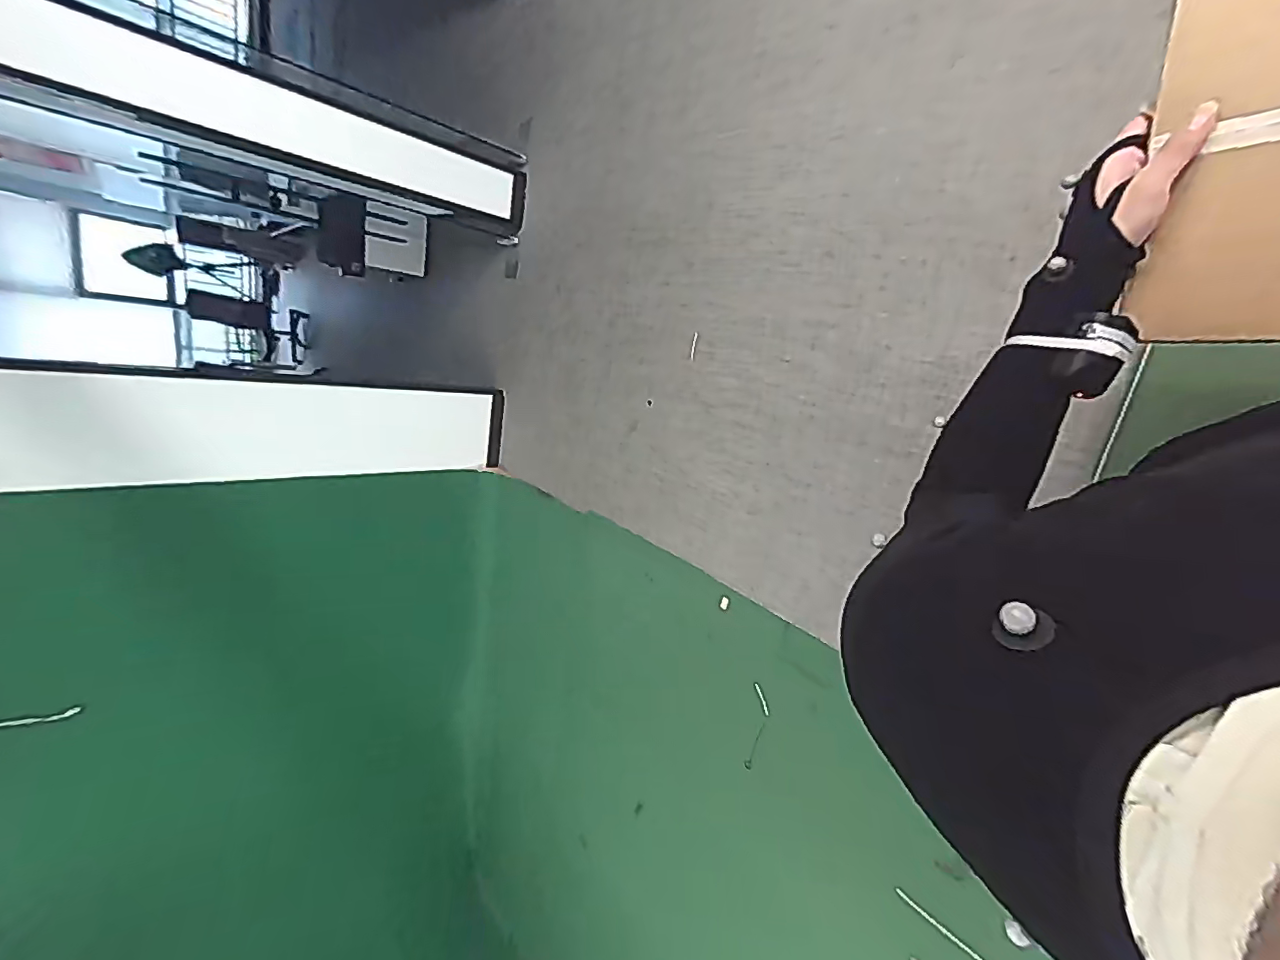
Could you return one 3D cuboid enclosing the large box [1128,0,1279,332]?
[{"bbox_3d":[0.680,-0.286,0.420,0.408,0.320,0.320,12,110,44],"label":"large box"}]
